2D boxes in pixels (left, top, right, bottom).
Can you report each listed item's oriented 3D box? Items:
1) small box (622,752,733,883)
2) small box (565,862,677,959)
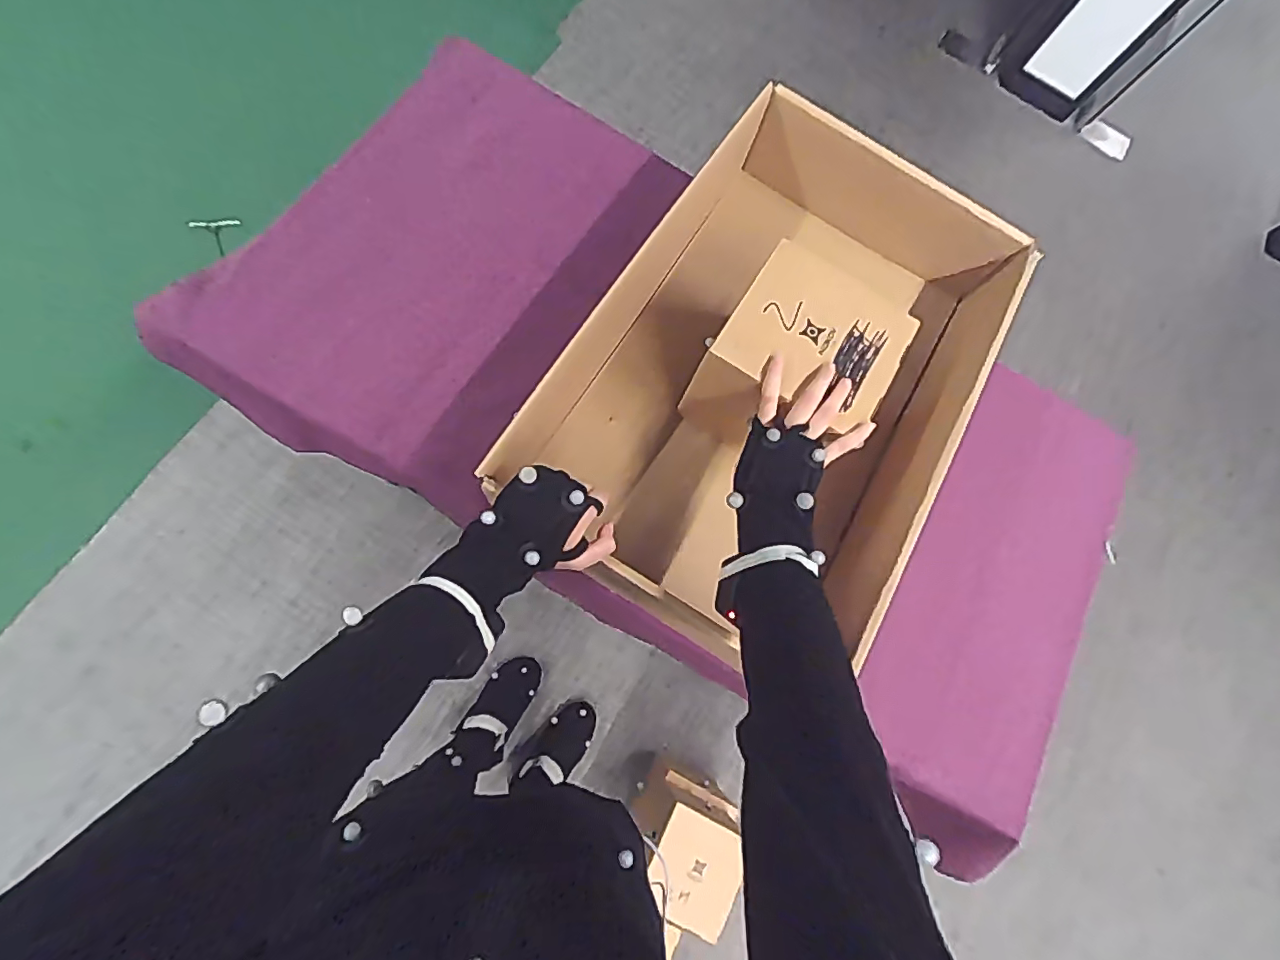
[{"bbox_3d":[0.076,0.740,1.210,0.179,0.176,0.168,30,74,0],"label":"small box"},{"bbox_3d":[-0.049,0.948,1.139,0.179,0.176,0.168,27,73,-3],"label":"small box"}]
